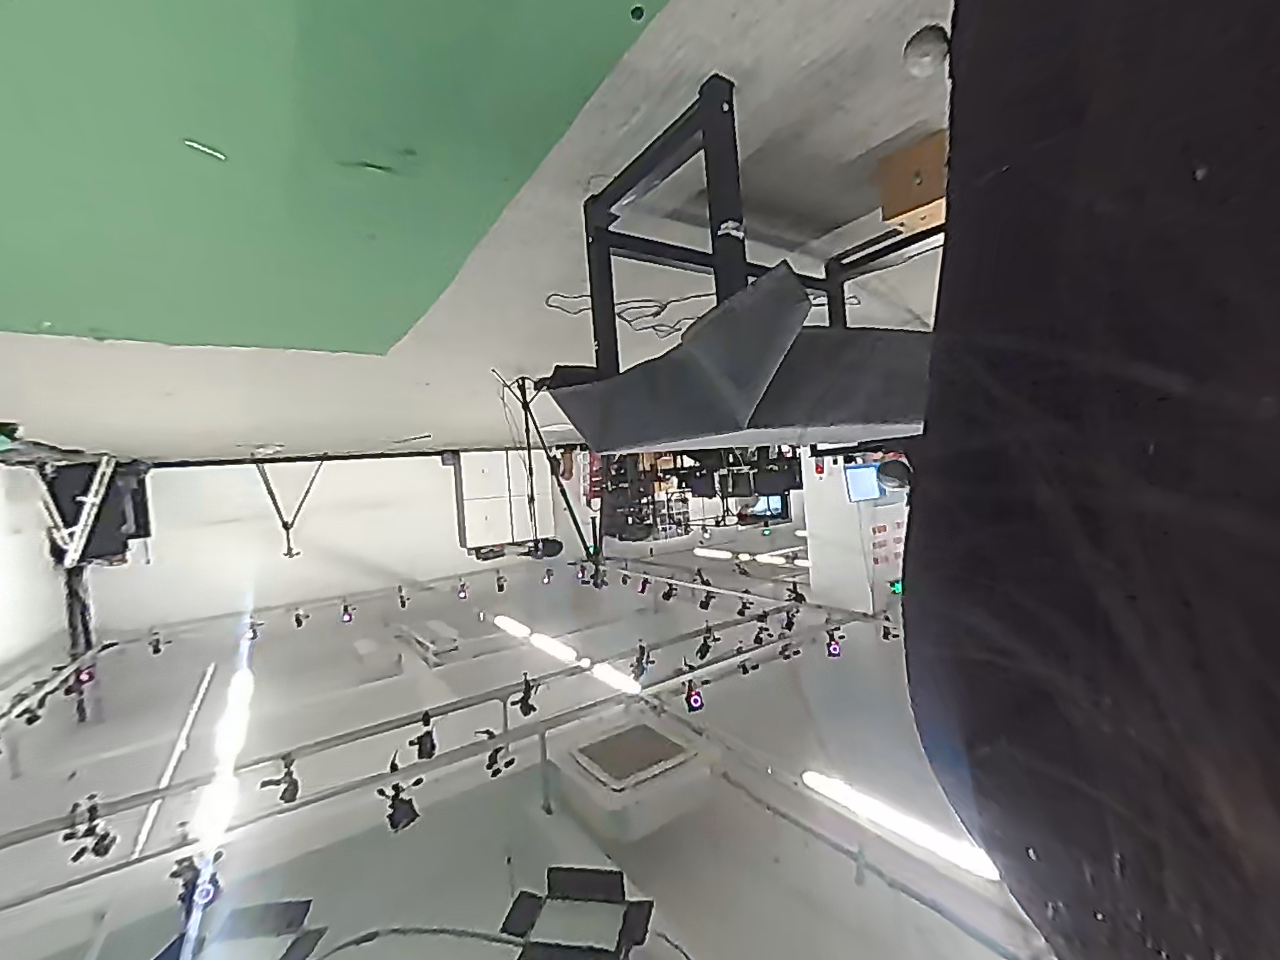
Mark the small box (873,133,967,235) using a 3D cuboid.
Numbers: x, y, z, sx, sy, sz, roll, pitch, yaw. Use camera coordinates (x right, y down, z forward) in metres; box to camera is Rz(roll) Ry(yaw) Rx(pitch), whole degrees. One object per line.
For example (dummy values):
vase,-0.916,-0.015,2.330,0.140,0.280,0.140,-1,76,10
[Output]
small box,0.756,-0.798,1.468,0.168,0.176,0.179,-5,180,-39
